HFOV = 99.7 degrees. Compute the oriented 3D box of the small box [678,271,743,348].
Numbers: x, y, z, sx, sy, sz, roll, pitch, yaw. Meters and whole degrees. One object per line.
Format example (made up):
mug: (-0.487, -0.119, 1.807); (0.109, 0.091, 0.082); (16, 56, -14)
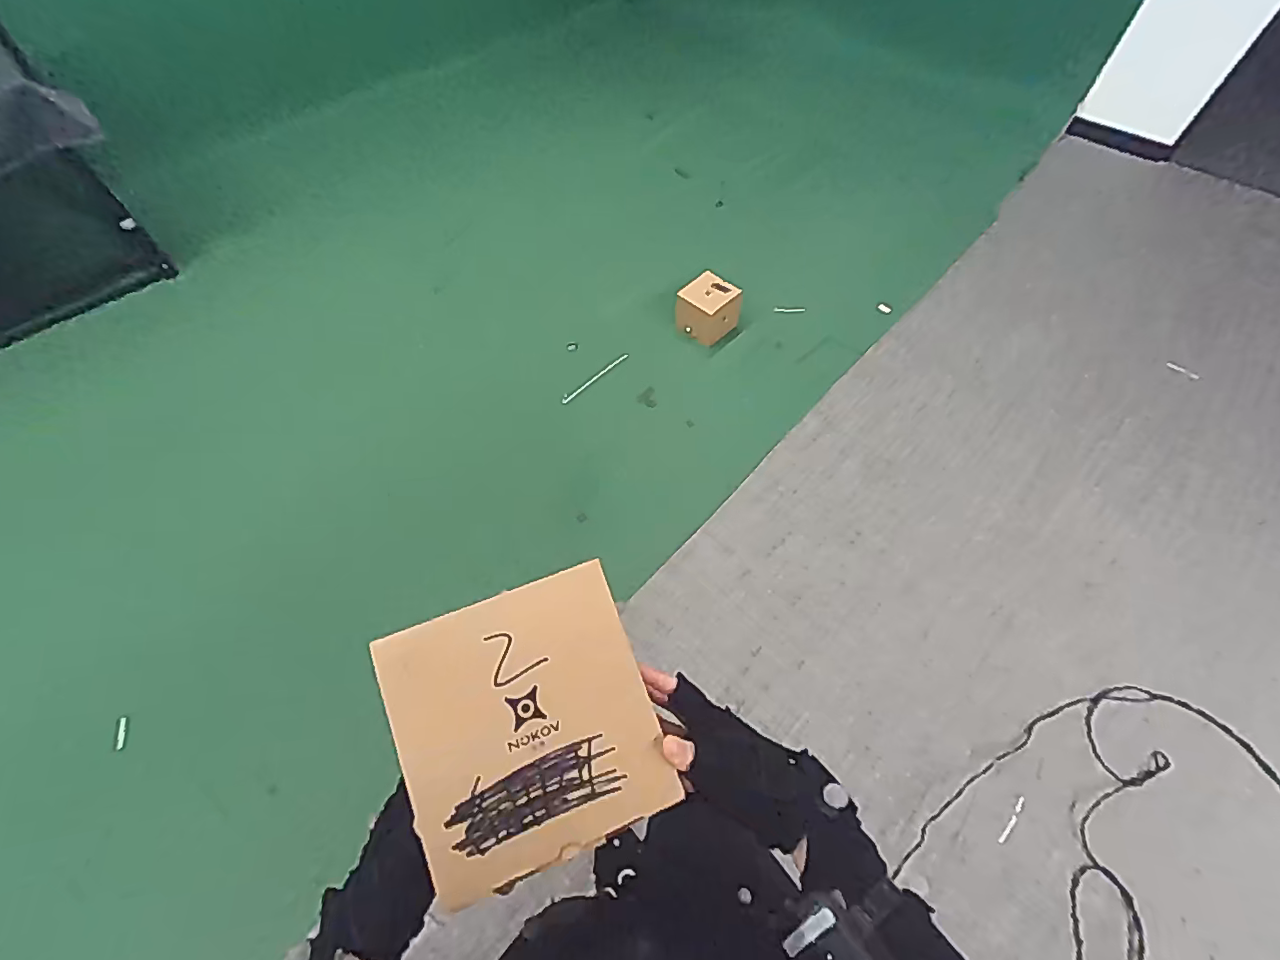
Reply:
small box: (0.252, -0.624, 1.984); (0.168, 0.176, 0.179); (39, 67, 22)
